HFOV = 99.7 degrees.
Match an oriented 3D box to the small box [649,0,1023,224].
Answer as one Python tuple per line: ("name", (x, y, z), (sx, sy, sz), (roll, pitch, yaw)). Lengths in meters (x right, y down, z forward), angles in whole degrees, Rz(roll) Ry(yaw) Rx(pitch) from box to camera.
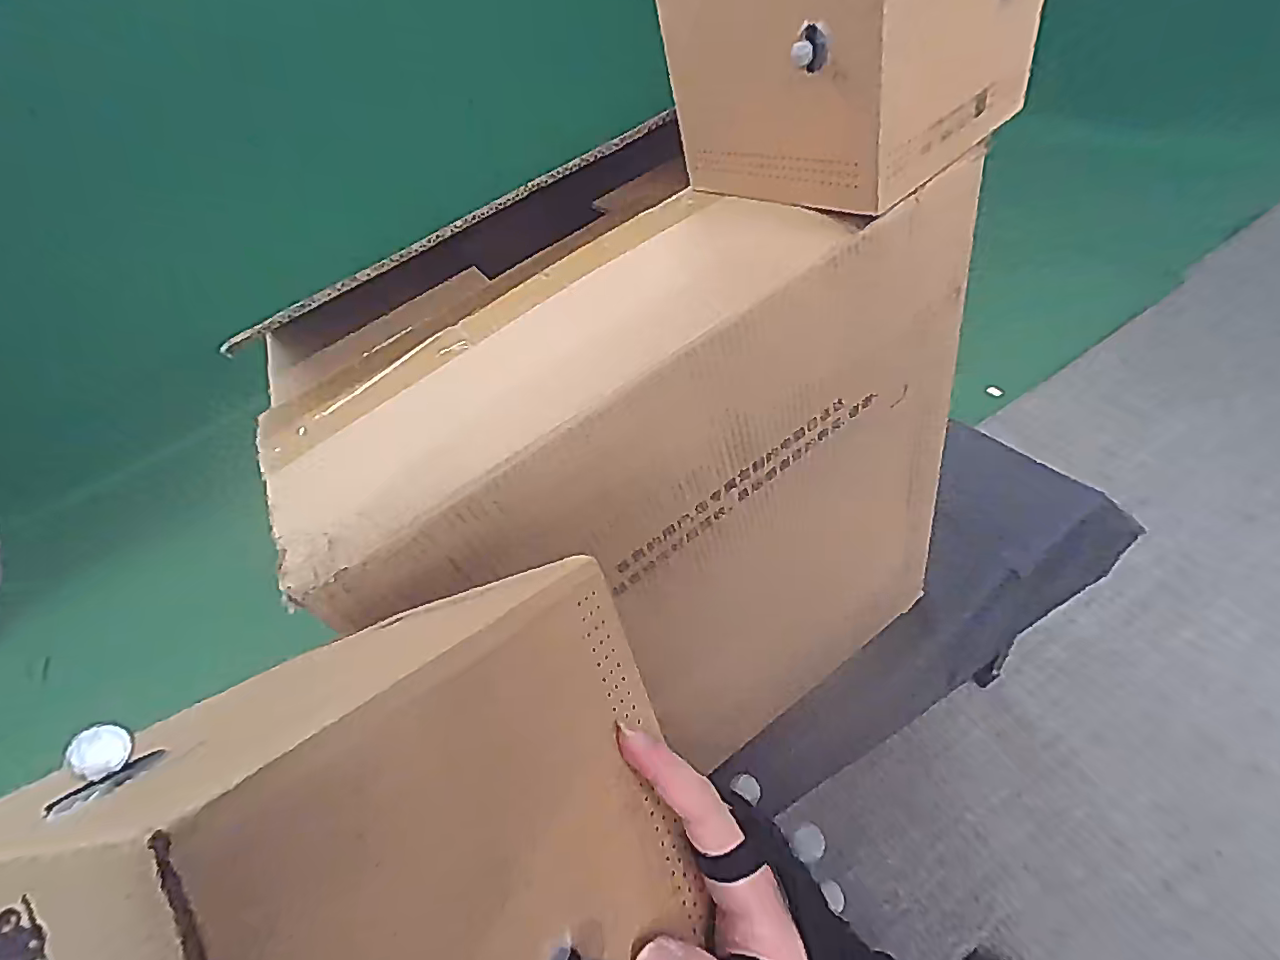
("small box", (0.132, -0.295, 0.366), (0.168, 0.176, 0.179), (-38, 46, -18))
